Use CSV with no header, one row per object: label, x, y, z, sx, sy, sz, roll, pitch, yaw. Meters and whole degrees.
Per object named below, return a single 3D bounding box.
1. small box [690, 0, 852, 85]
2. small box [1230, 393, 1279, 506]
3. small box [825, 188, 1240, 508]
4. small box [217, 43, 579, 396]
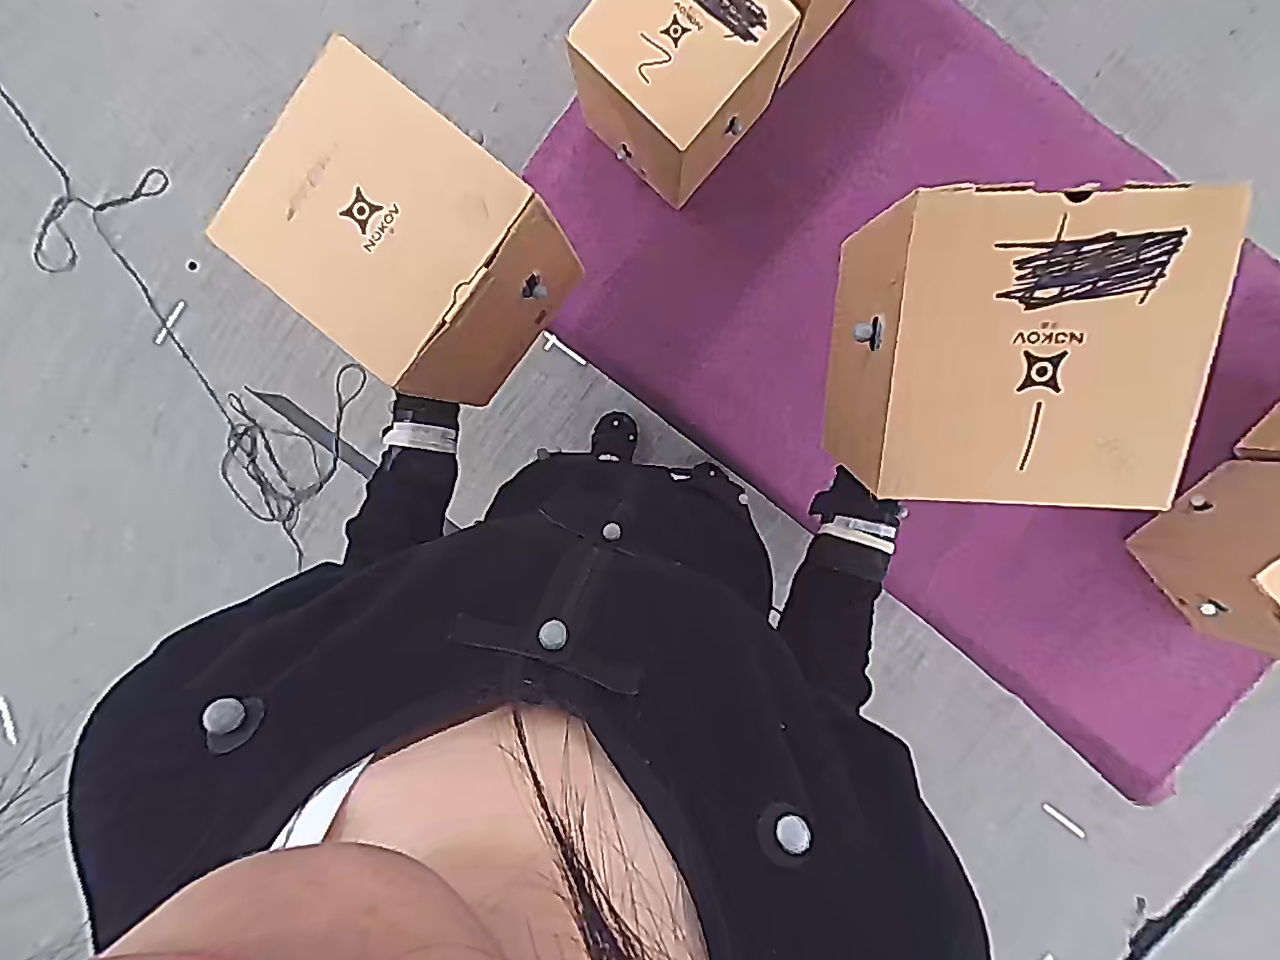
small box,0.168,-0.603,0.596,0.168,0.176,0.179,41,96,-3
small box,0.897,-0.049,0.645,0.168,0.176,0.179,41,95,-4
small box,0.239,-0.091,0.387,0.168,0.176,0.179,3,105,6
small box,-0.173,-0.184,0.447,0.179,0.176,0.168,39,95,2
